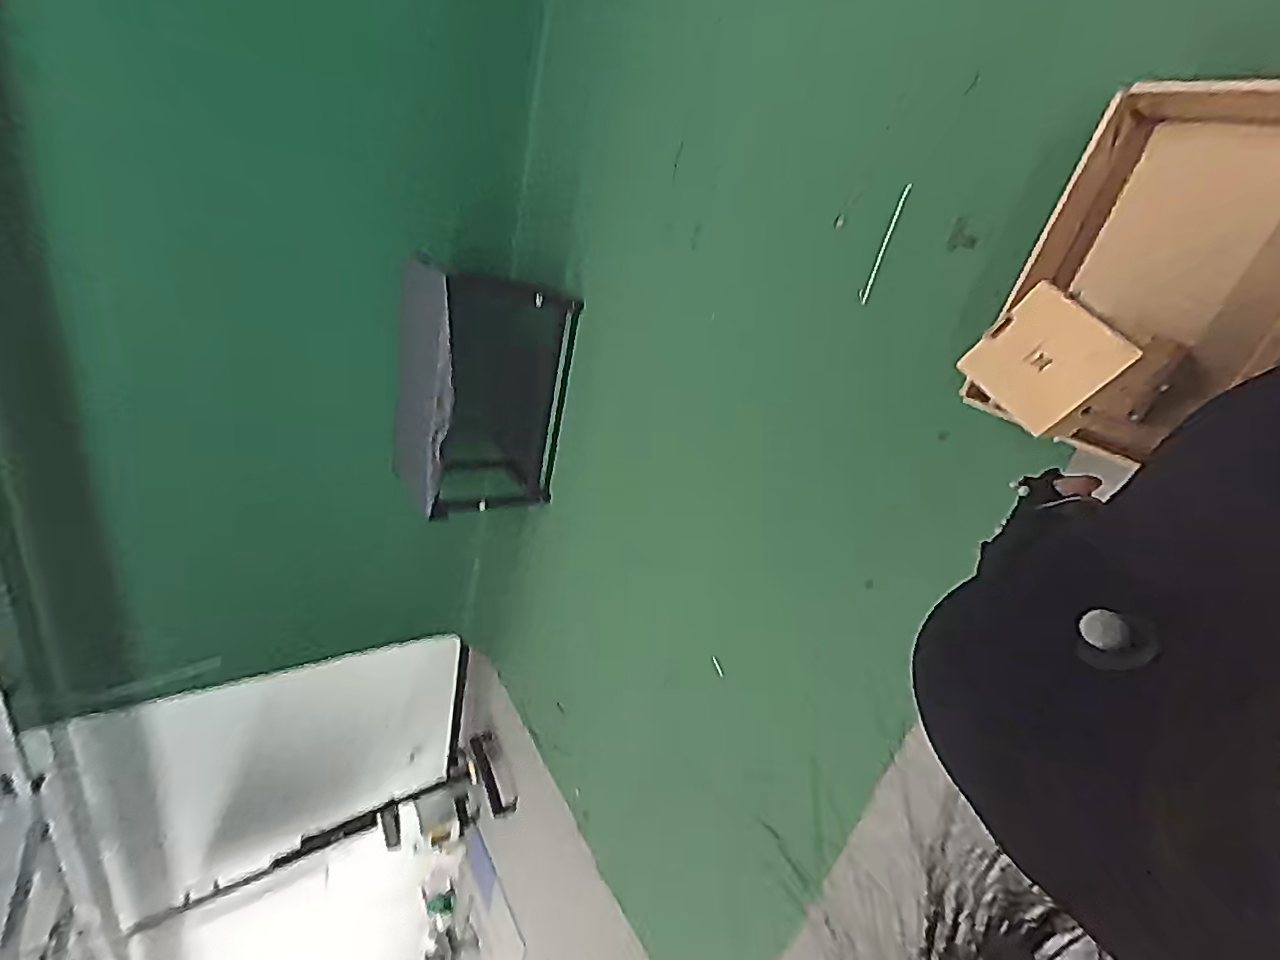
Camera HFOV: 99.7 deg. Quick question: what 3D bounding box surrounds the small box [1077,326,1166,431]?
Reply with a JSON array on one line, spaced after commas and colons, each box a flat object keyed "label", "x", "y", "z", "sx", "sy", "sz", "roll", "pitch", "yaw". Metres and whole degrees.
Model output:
[{"label": "small box", "x": 0.786, "y": -0.197, "z": 0.970, "sx": 0.179, "sy": 0.176, "sz": 0.168, "roll": 39, "pitch": 122, "yaw": 44}]

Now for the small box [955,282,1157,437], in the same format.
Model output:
[{"label": "small box", "x": 0.663, "y": -0.187, "z": 0.864, "sx": 0.168, "sy": 0.176, "sz": 0.179, "roll": -56, "pitch": 51, "yaw": 38}]

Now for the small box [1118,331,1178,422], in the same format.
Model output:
[{"label": "small box", "x": 0.909, "y": -0.217, "z": 1.077, "sx": 0.179, "sy": 0.176, "sz": 0.168, "roll": 36, "pitch": 121, "yaw": 44}]
